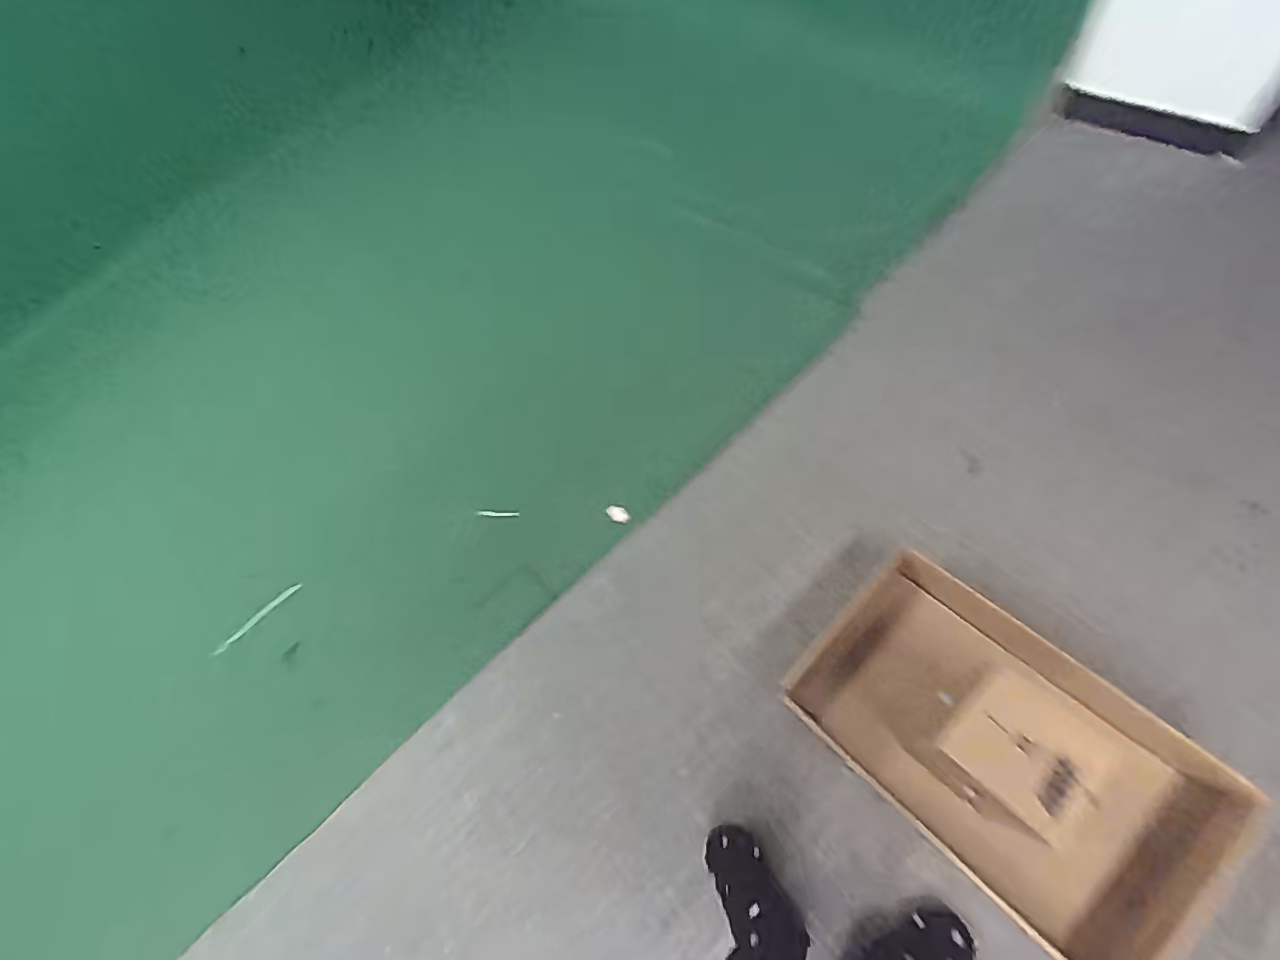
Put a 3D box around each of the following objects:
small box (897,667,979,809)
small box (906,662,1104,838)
[{"bbox_3d":[0.597,0.473,0.986,0.179,0.176,0.168,-44,63,-9],"label":"small box"},{"bbox_3d":[0.557,0.416,0.856,0.168,0.176,0.179,-43,62,-7],"label":"small box"}]
